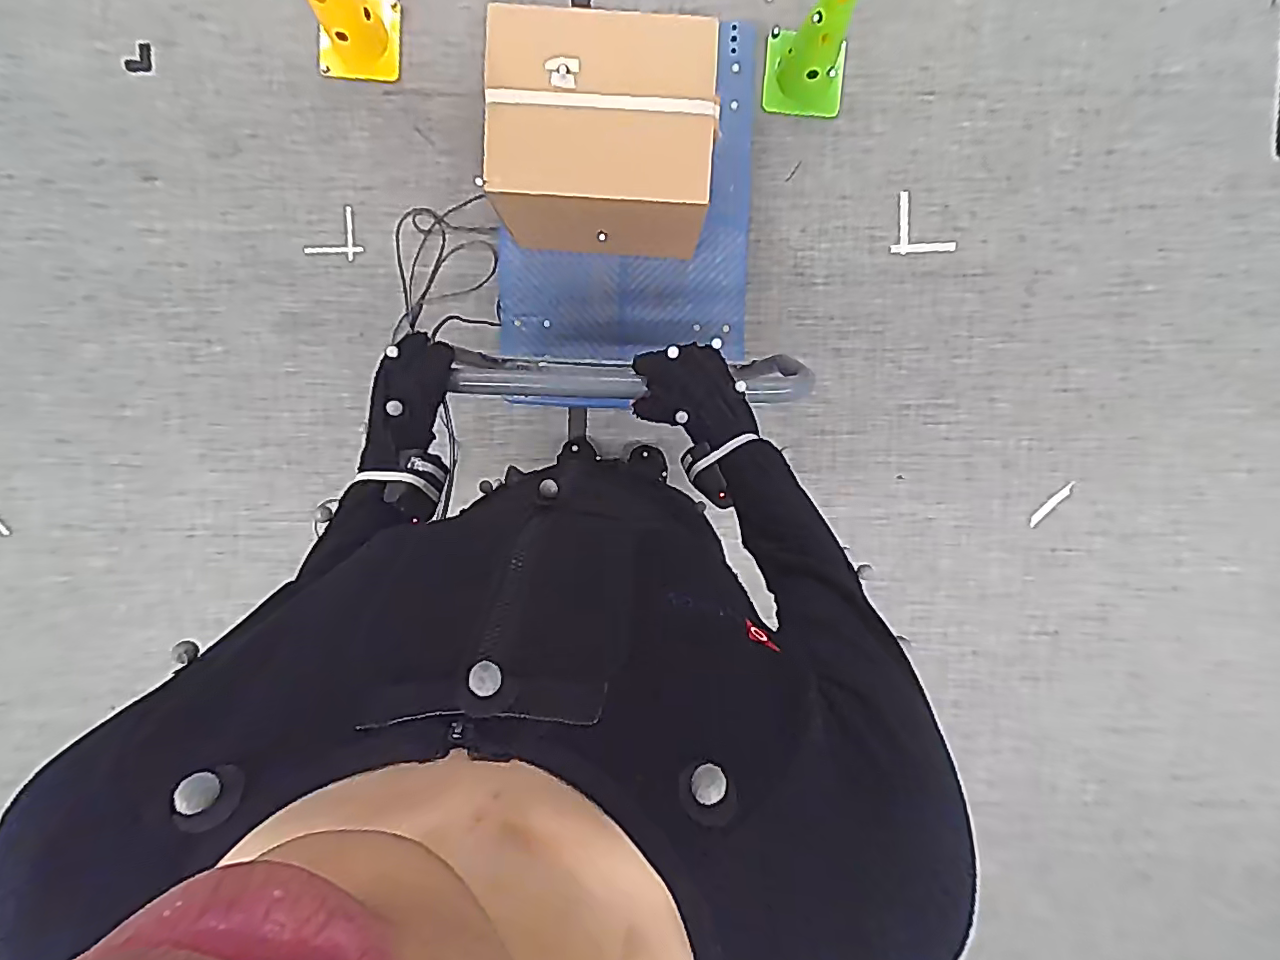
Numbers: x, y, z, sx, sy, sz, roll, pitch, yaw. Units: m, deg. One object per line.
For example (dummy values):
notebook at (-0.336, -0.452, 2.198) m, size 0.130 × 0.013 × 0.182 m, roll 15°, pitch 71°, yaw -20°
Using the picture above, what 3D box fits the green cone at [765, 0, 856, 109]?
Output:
green cone at (0.427, -1.044, 1.212) m, size 0.202 × 0.368 × 0.200 m, roll 4°, pitch 95°, yaw -2°

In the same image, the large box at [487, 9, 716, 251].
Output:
large box at (-0.067, -0.673, 1.098) m, size 0.408 × 0.320 × 0.320 m, roll 3°, pitch 95°, yaw 0°
